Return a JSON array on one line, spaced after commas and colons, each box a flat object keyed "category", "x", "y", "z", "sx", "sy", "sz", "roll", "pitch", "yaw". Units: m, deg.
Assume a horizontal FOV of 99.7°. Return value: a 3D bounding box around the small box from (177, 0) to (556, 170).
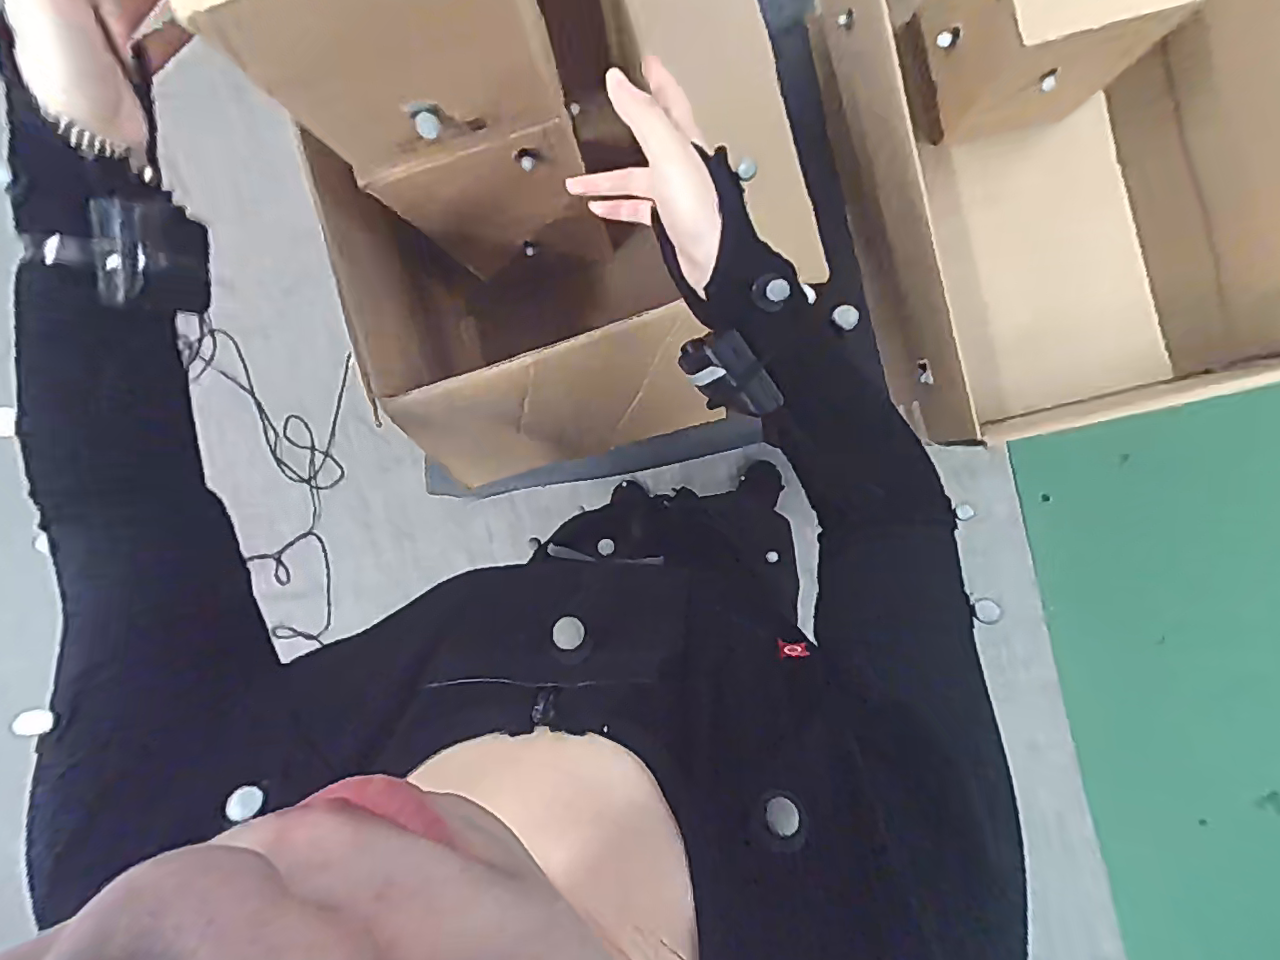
[{"category": "small box", "x": -0.166, "y": -0.339, "z": 0.340, "sx": 0.168, "sy": 0.176, "sz": 0.179, "roll": -14, "pitch": 95, "yaw": 6}]
